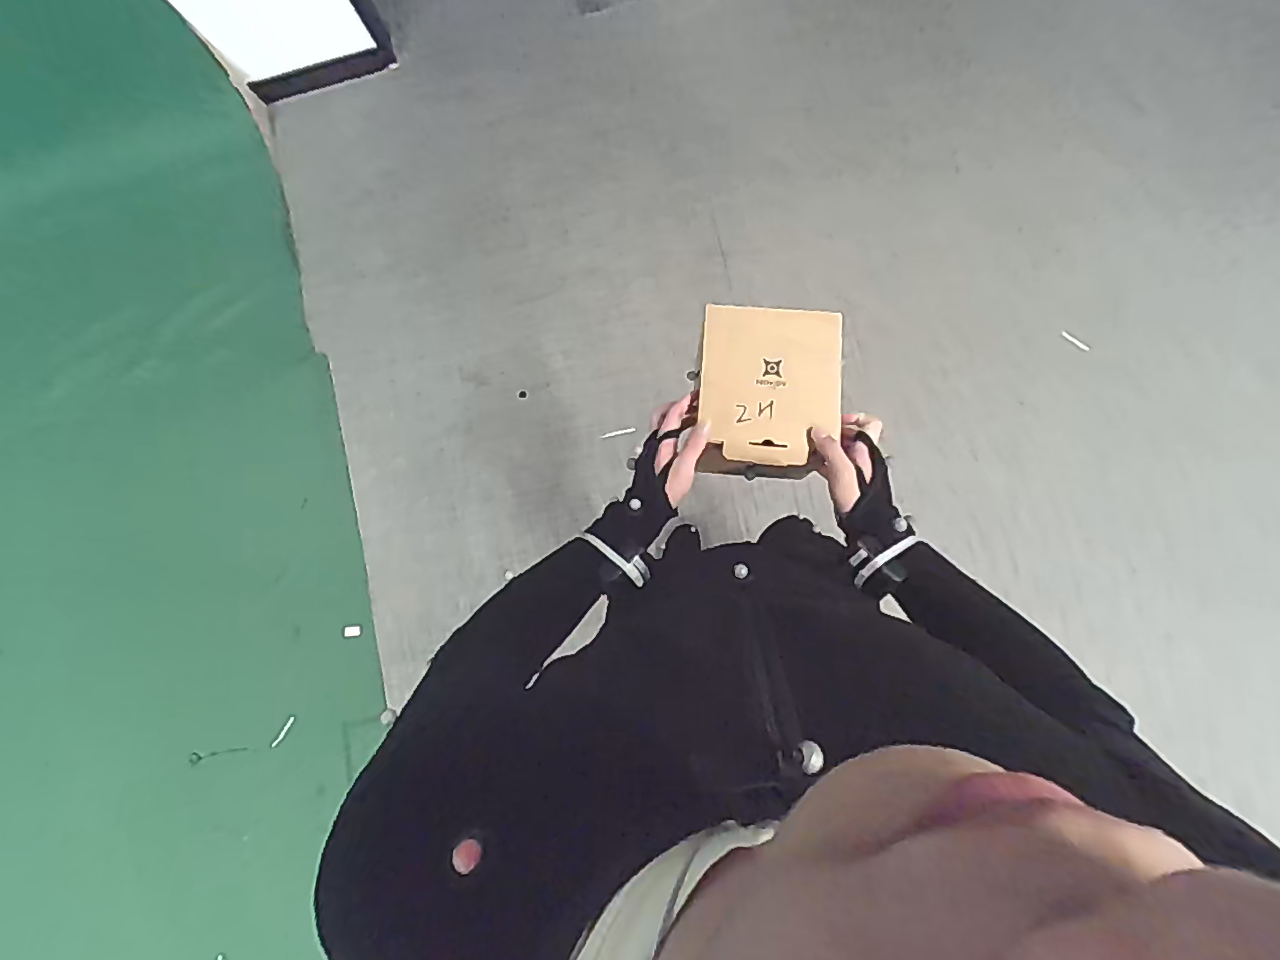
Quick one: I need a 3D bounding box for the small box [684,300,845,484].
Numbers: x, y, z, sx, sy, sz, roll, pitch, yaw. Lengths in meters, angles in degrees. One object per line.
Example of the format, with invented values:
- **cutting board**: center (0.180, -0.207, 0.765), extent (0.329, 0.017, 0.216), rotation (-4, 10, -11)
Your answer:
- **small box**: center (0.152, -0.106, 0.708), extent (0.168, 0.176, 0.179), rotation (10, 80, 6)
